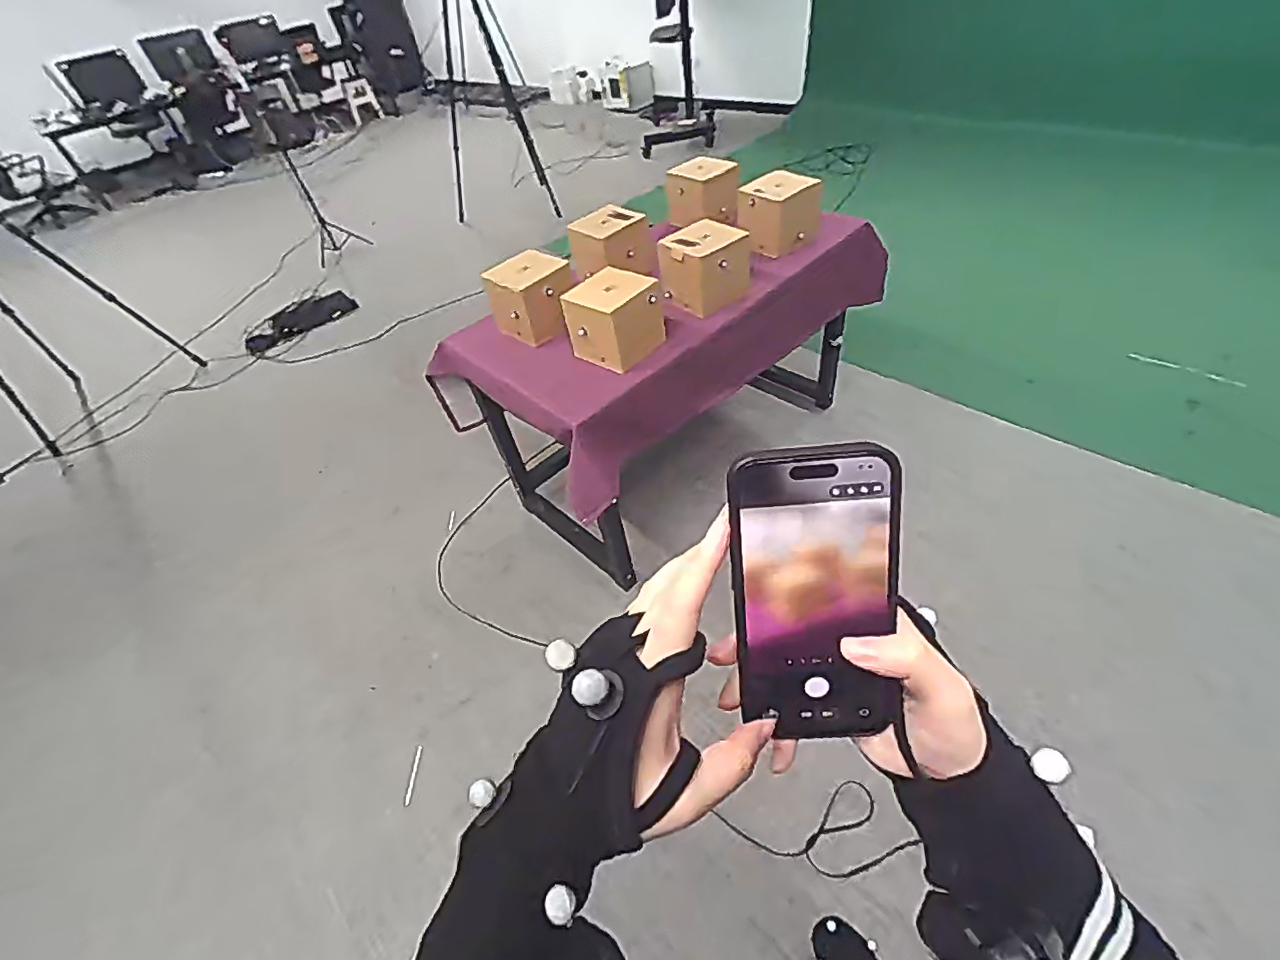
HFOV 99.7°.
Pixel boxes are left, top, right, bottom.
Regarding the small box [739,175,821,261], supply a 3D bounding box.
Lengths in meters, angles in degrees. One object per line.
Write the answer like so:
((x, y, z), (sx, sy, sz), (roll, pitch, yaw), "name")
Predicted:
((0.412, -0.784, 1.619), (0.179, 0.176, 0.168), (-33, 49, -20), "small box")

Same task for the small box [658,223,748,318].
((0.173, -0.558, 1.447), (0.179, 0.176, 0.168), (-33, 50, -21), "small box")

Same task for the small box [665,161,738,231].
((0.206, -0.936, 1.801), (0.168, 0.176, 0.179), (-36, 52, -21), "small box")

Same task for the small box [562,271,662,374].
((-0.059, -0.385, 1.326), (0.168, 0.176, 0.179), (27, 55, 31), "small box")
